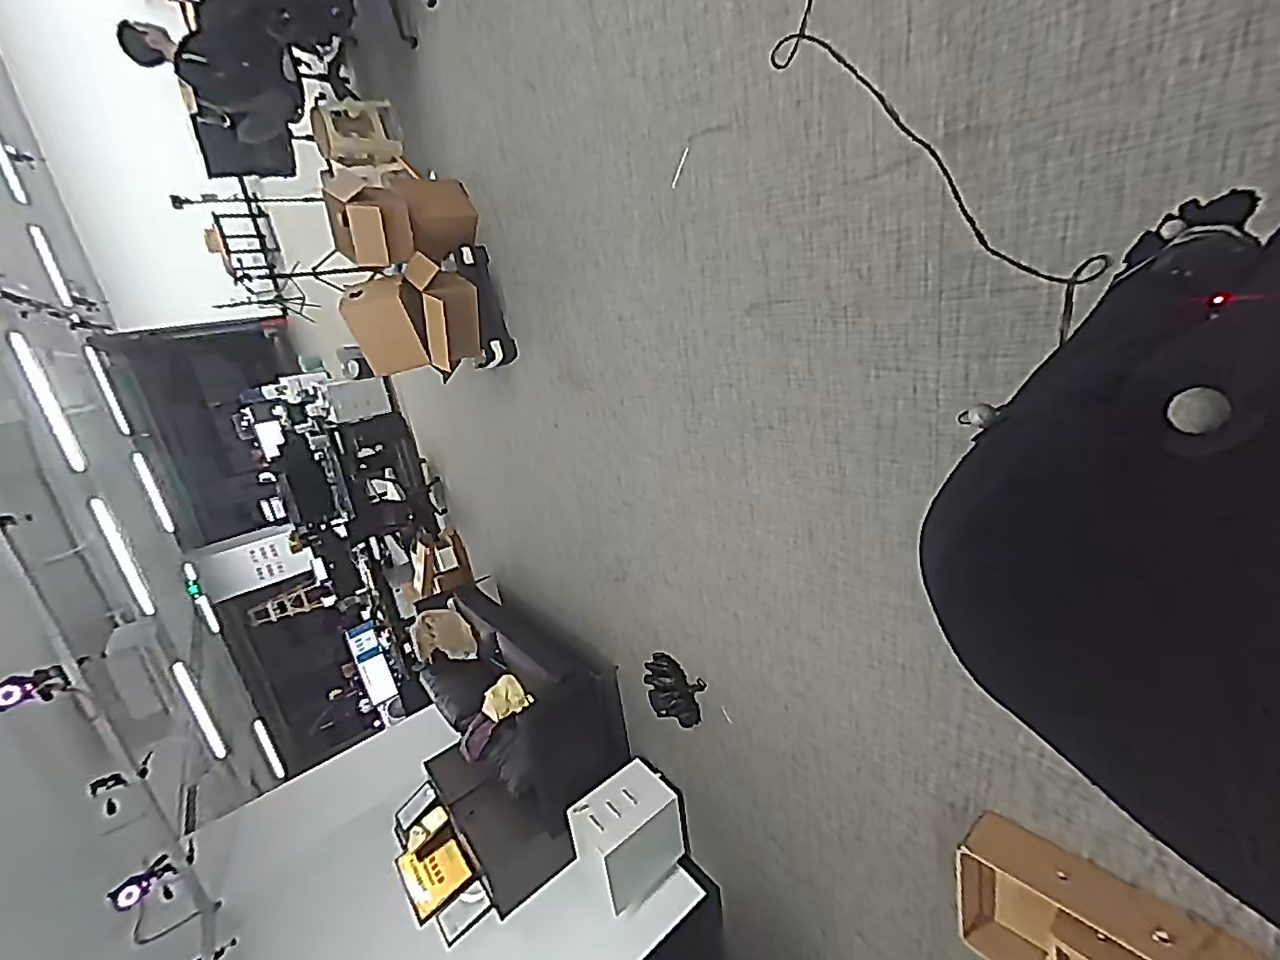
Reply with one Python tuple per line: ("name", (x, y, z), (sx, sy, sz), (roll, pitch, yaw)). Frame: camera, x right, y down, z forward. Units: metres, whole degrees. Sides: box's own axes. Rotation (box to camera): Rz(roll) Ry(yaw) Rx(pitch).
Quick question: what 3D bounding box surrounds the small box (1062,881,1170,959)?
("small box", (1.245, 1.207, 1.416), (0.179, 0.176, 0.168), (11, 119, 51))
